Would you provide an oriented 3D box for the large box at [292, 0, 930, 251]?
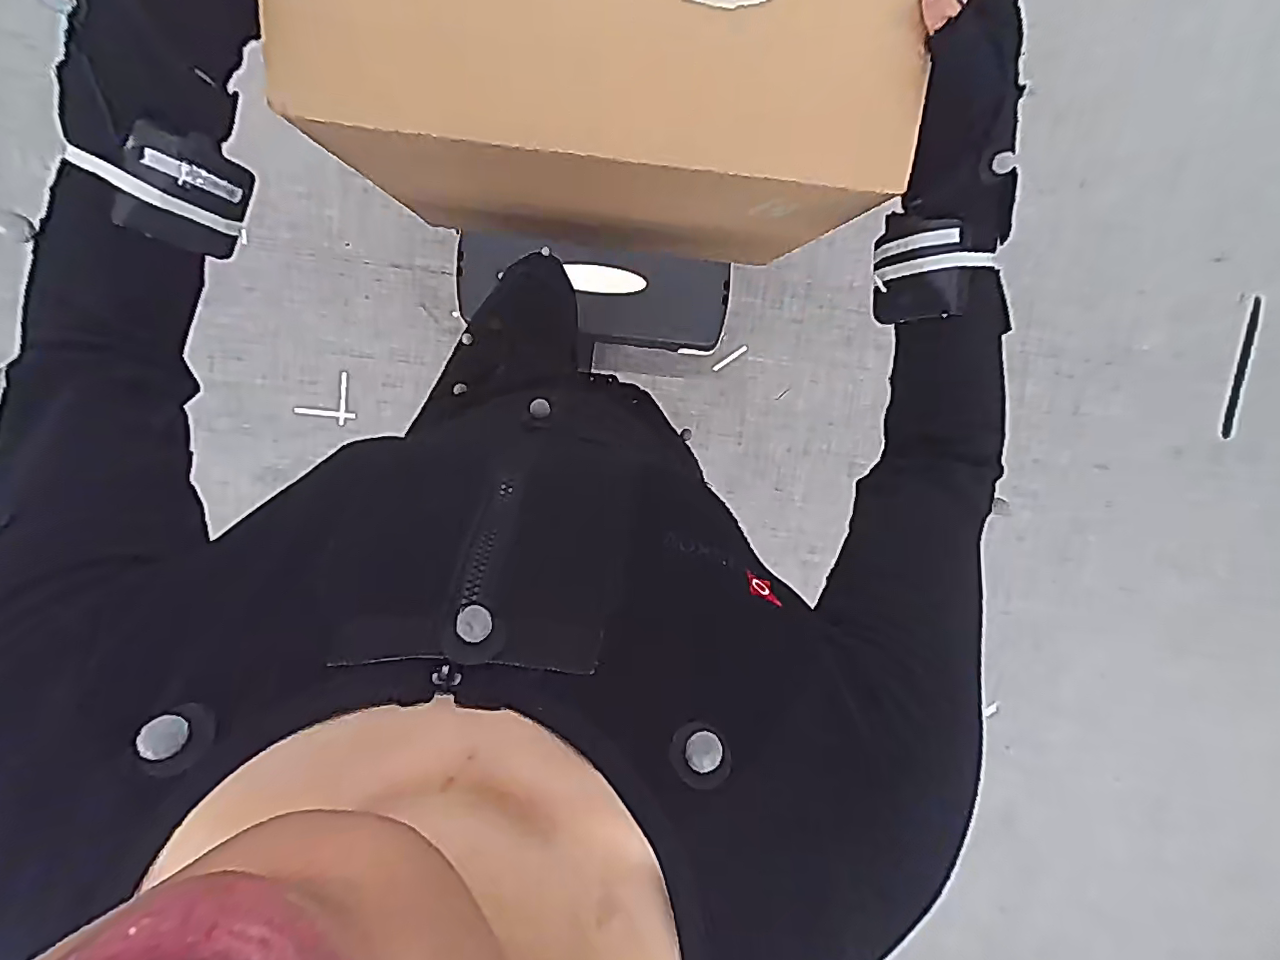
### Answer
[{"bbox_3d":[-0.018,-0.402,0.466,0.408,0.320,0.320,4,104,-6],"label":"large box"}]
